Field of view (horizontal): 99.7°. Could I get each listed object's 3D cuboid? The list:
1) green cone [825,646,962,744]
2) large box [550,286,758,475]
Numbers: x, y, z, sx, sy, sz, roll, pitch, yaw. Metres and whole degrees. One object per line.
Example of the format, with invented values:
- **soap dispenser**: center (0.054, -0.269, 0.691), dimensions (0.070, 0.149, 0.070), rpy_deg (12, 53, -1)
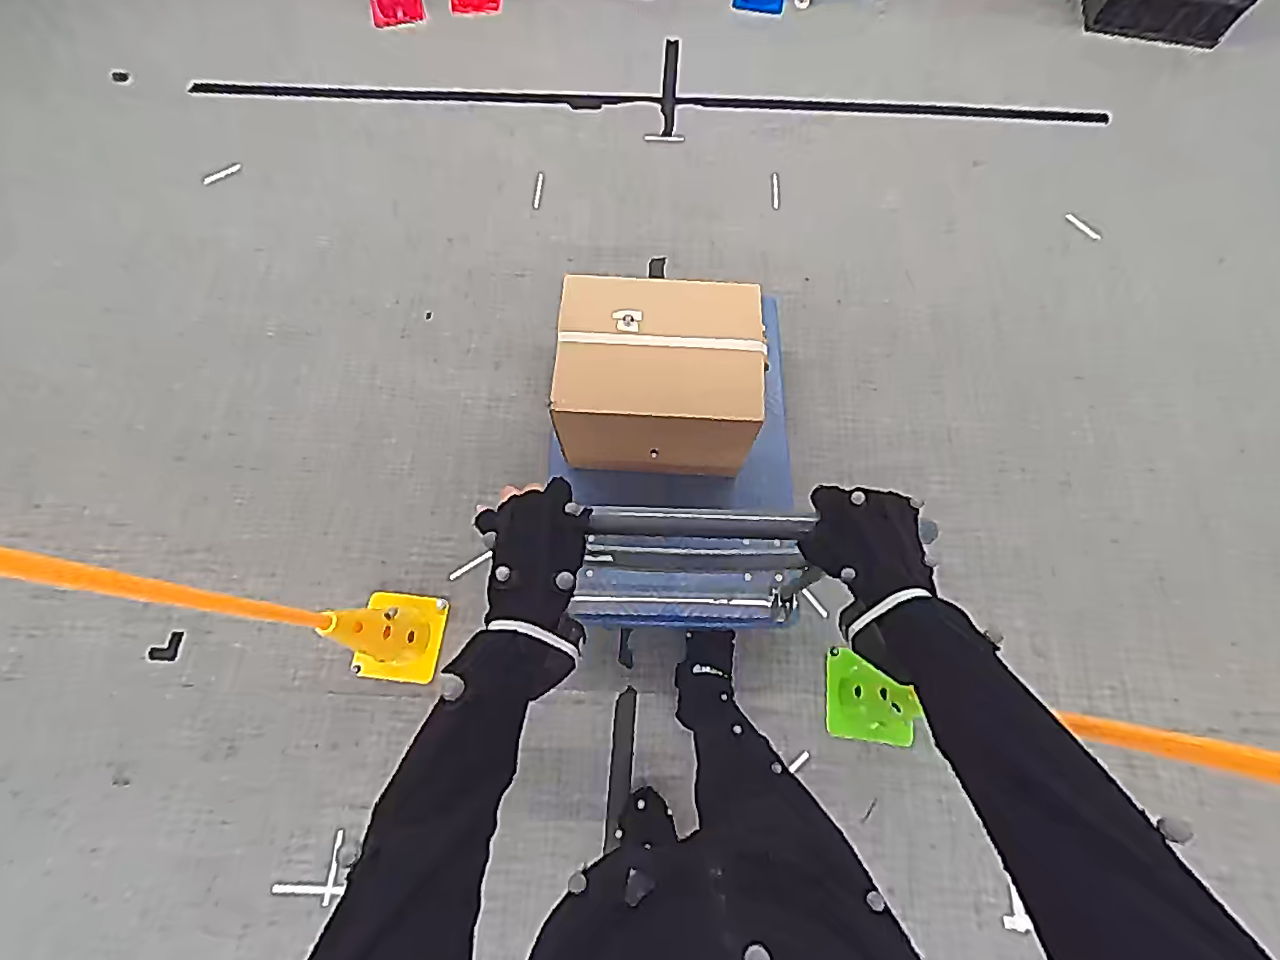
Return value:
- **green cone**: center (0.545, 0.452, 1.127), dimensions (0.202, 0.368, 0.200), rpy_deg (7, 70, 1)
- **large box**: center (0.035, -0.206, 1.214), dimensions (0.408, 0.320, 0.320), rpy_deg (3, 70, 1)
